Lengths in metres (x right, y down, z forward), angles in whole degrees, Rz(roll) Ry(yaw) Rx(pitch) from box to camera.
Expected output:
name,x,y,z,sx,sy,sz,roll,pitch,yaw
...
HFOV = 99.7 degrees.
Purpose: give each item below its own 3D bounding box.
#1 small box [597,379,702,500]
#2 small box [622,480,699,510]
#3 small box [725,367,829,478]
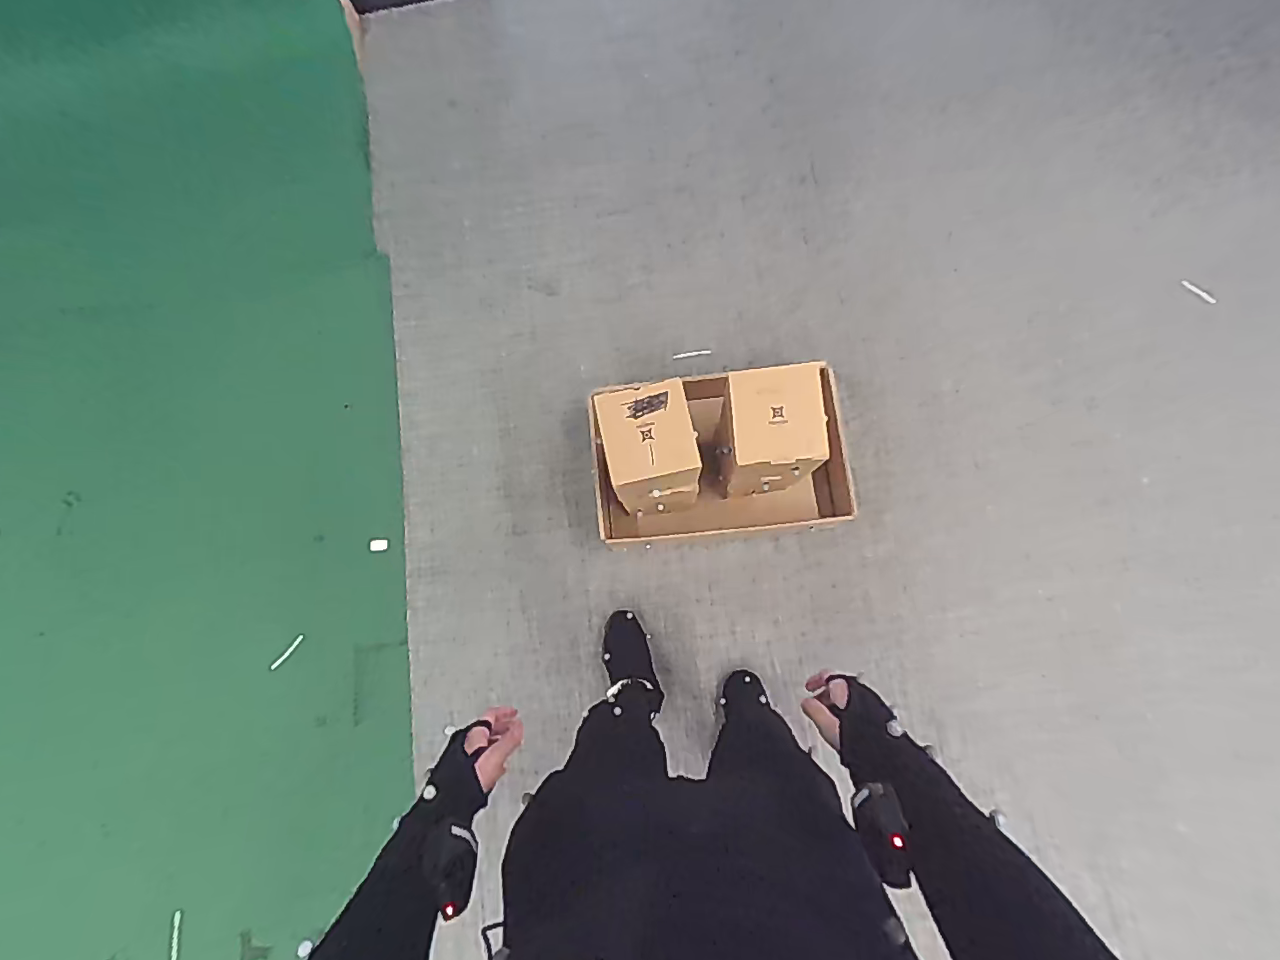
name,x,y,z,sx,sy,sz,roll,pitch,yaw
small box,0.018,-0.071,1.051,0.168,0.176,0.179,-13,79,0
small box,0.036,-0.037,1.211,0.168,0.176,0.179,-7,79,2
small box,0.256,-0.102,1.047,0.168,0.176,0.179,-4,80,4
